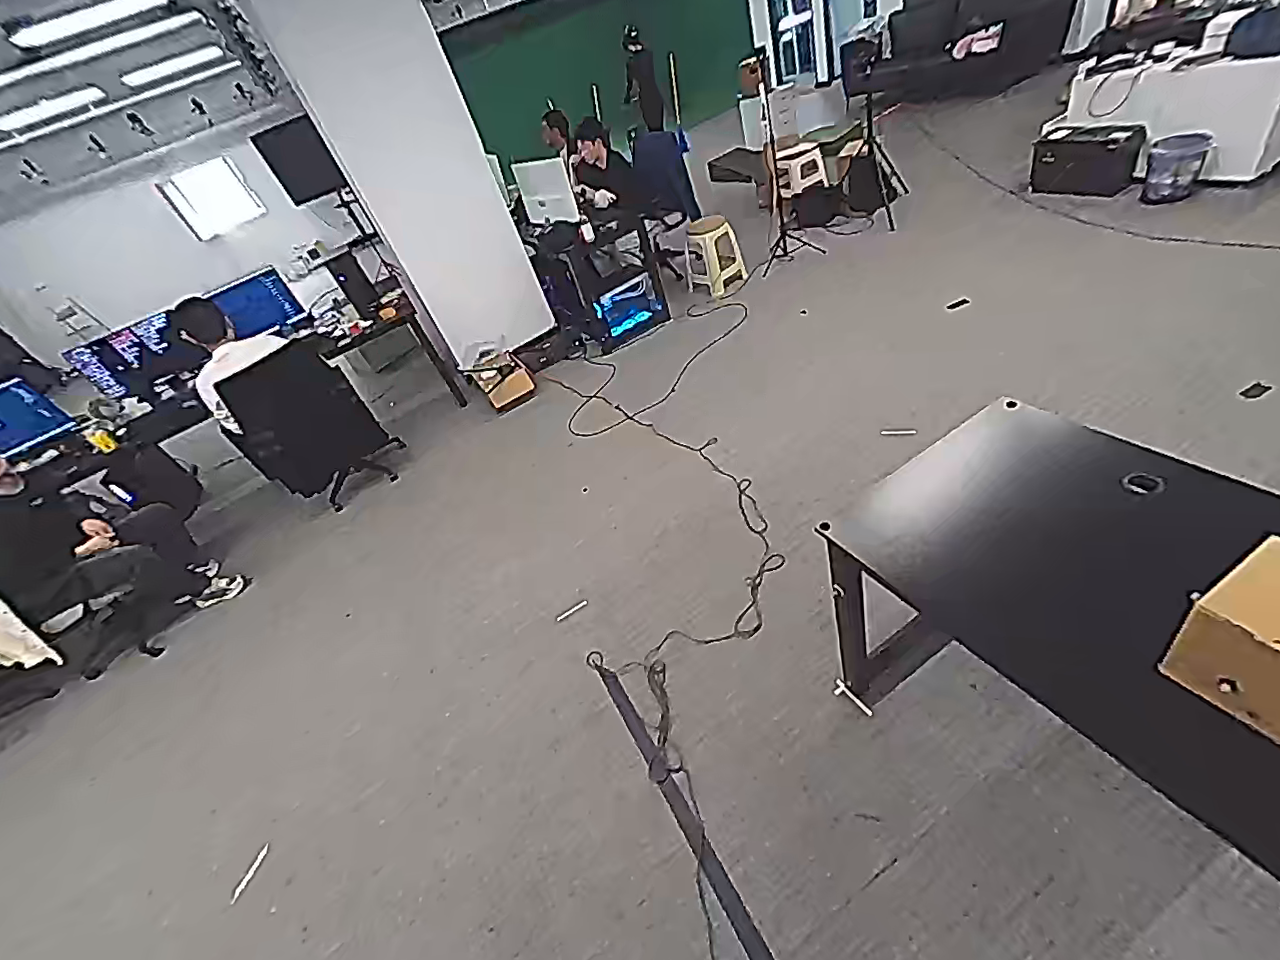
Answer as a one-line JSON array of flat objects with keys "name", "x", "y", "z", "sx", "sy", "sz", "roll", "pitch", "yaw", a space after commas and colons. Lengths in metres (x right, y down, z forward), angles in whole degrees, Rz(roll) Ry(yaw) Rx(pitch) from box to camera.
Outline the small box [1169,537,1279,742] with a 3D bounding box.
[{"name": "small box", "x": 0.860, "y": 0.215, "z": 0.710, "sx": 0.179, "sy": 0.176, "sz": 0.168, "roll": -32, "pitch": 40, "yaw": -12}]
